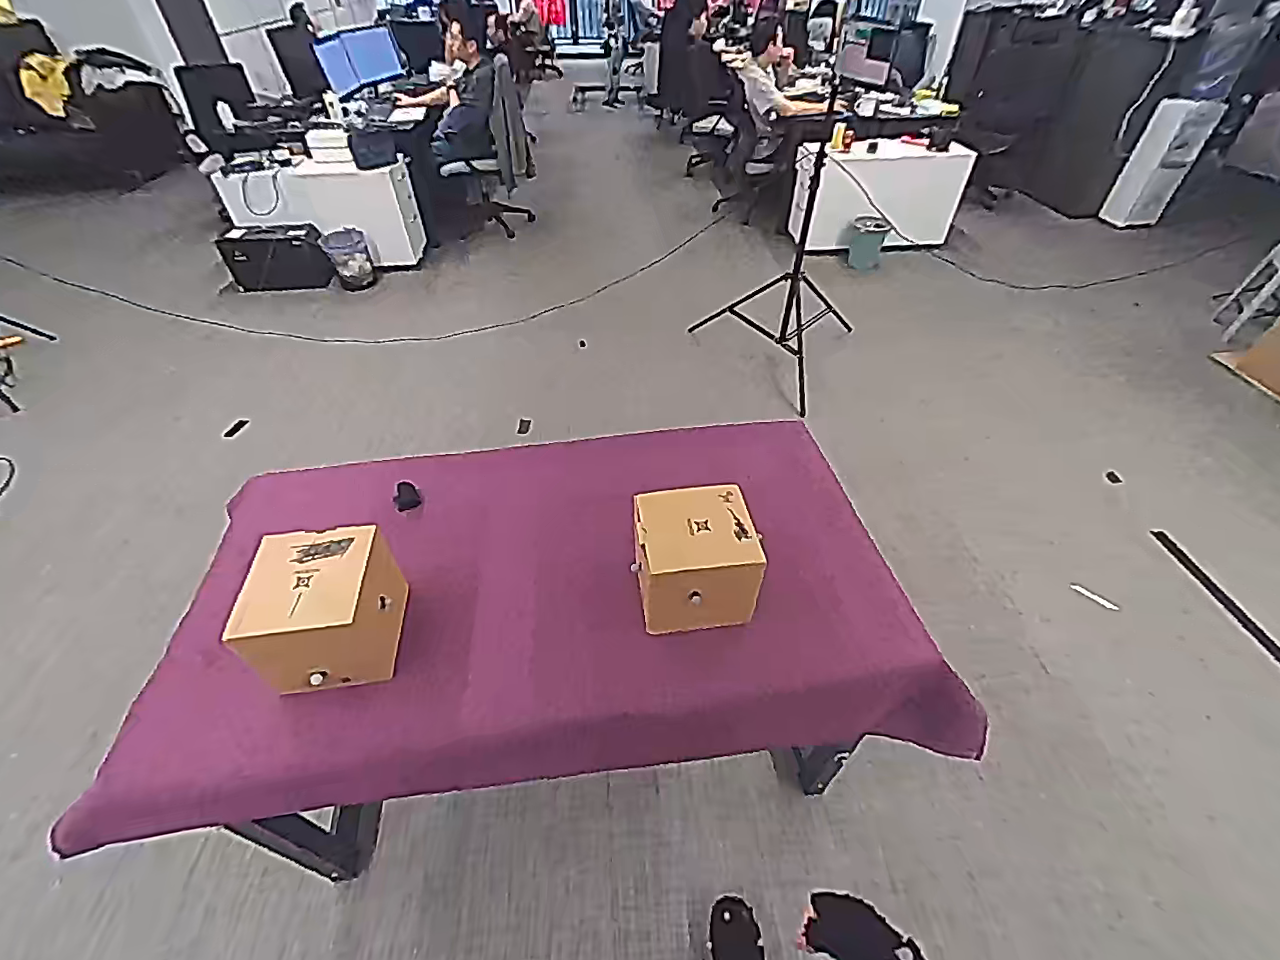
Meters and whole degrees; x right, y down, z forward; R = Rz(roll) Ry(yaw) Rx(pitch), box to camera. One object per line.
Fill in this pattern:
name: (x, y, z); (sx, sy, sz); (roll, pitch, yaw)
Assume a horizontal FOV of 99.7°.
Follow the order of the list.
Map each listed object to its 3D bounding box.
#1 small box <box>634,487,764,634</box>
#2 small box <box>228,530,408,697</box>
small box: (0.090, 0.135, 0.890); (0.179, 0.176, 0.168); (-6, 44, -5)
small box: (-0.468, 0.202, 0.824); (0.168, 0.176, 0.179); (-6, 45, -6)
